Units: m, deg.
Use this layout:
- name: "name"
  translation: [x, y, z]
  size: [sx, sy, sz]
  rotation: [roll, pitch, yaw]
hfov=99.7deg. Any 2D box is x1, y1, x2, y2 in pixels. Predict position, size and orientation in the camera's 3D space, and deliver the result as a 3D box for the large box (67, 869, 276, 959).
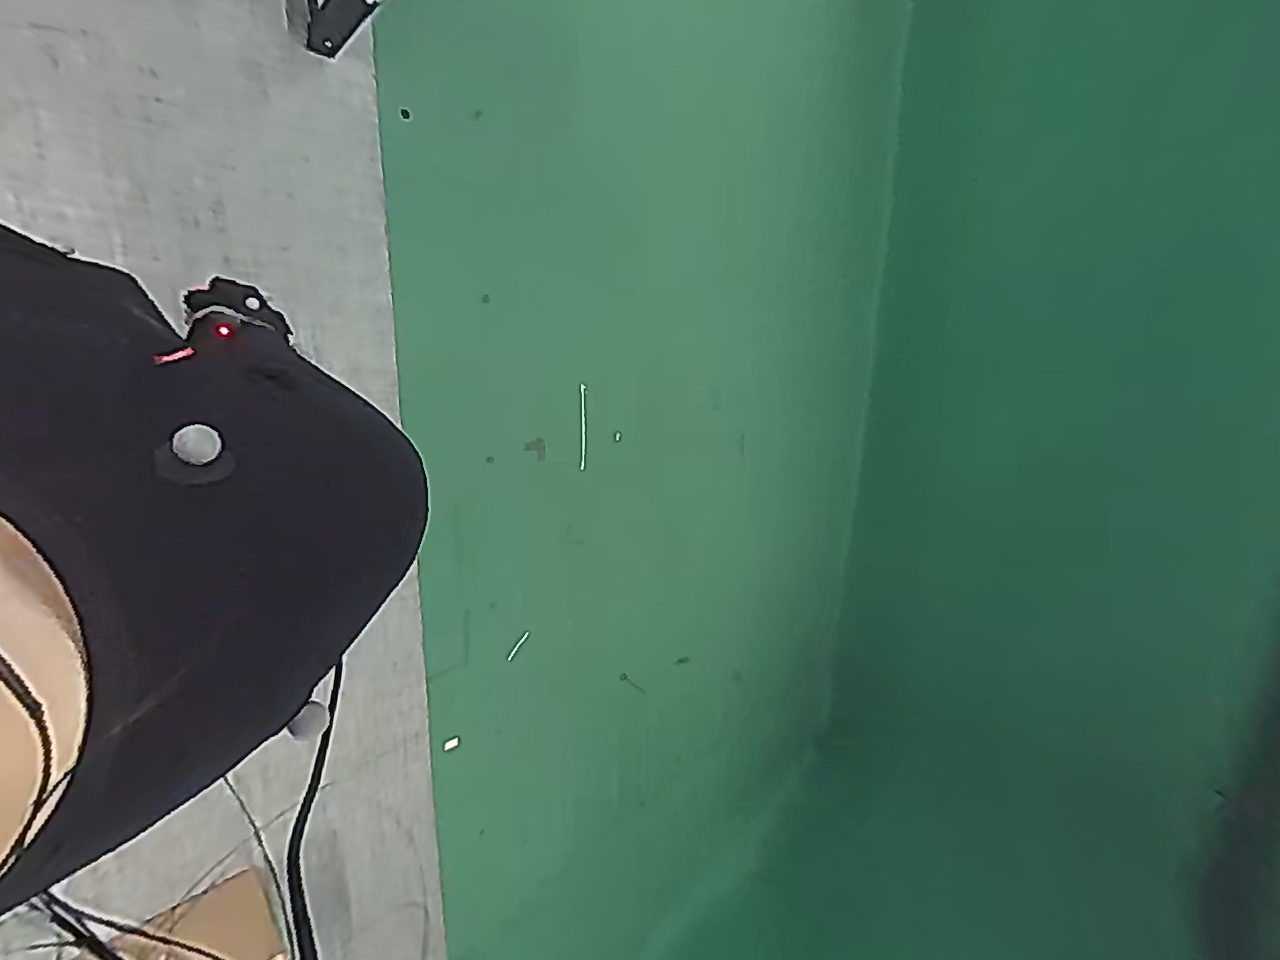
- name: "large box"
  translation: [-1.084, 1.217, 1.217]
  size: [0.408, 0.320, 0.320]
  rotation: [-11, 108, -47]
